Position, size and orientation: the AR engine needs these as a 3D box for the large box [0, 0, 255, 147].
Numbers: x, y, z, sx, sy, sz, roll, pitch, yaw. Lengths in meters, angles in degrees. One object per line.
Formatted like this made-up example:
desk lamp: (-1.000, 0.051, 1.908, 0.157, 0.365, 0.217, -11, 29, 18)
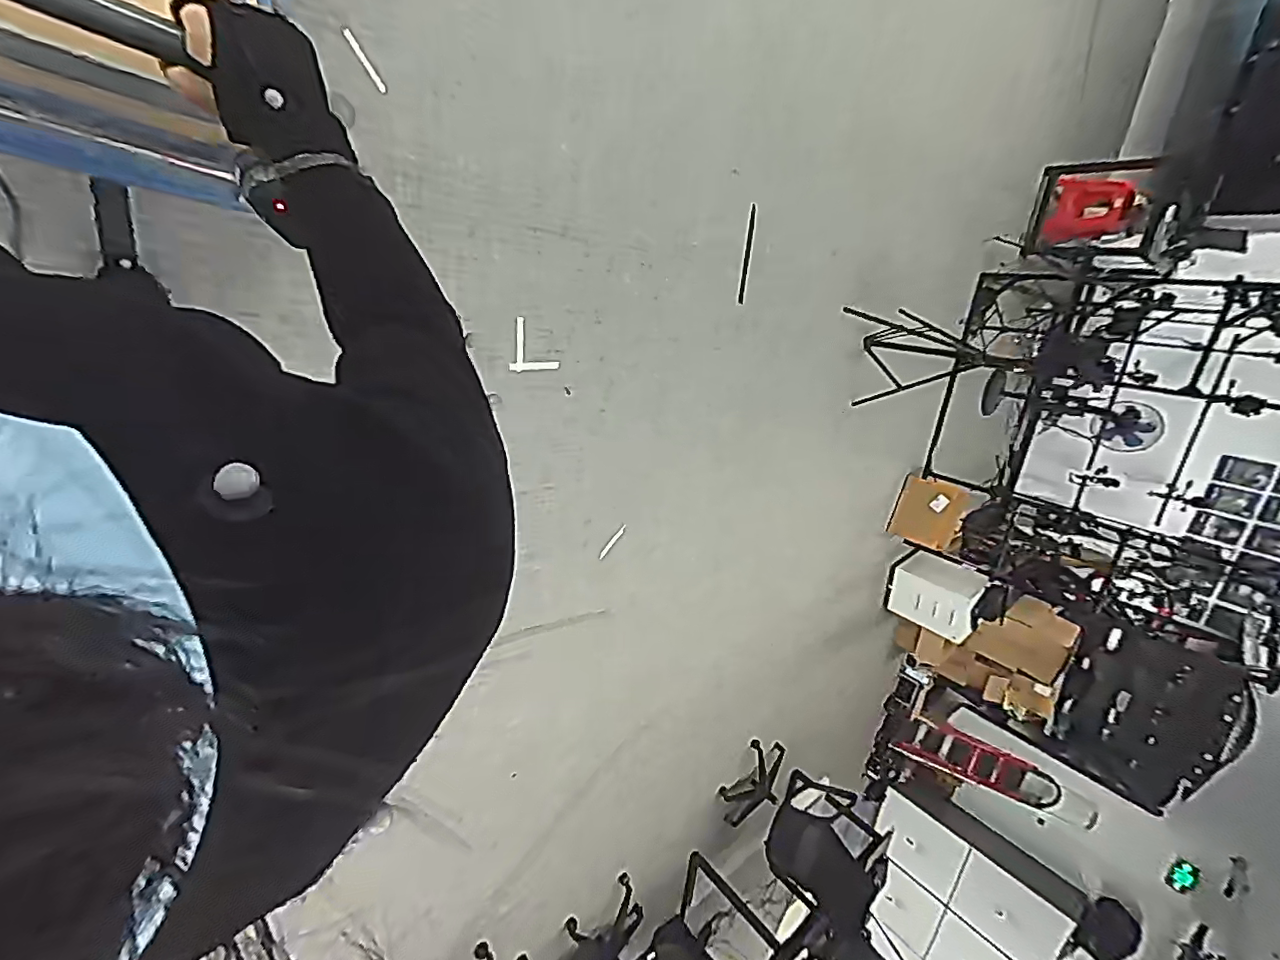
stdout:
large box: (-0.744, -0.667, 0.665, 0.408, 0.320, 0.320, -2, 110, -44)
